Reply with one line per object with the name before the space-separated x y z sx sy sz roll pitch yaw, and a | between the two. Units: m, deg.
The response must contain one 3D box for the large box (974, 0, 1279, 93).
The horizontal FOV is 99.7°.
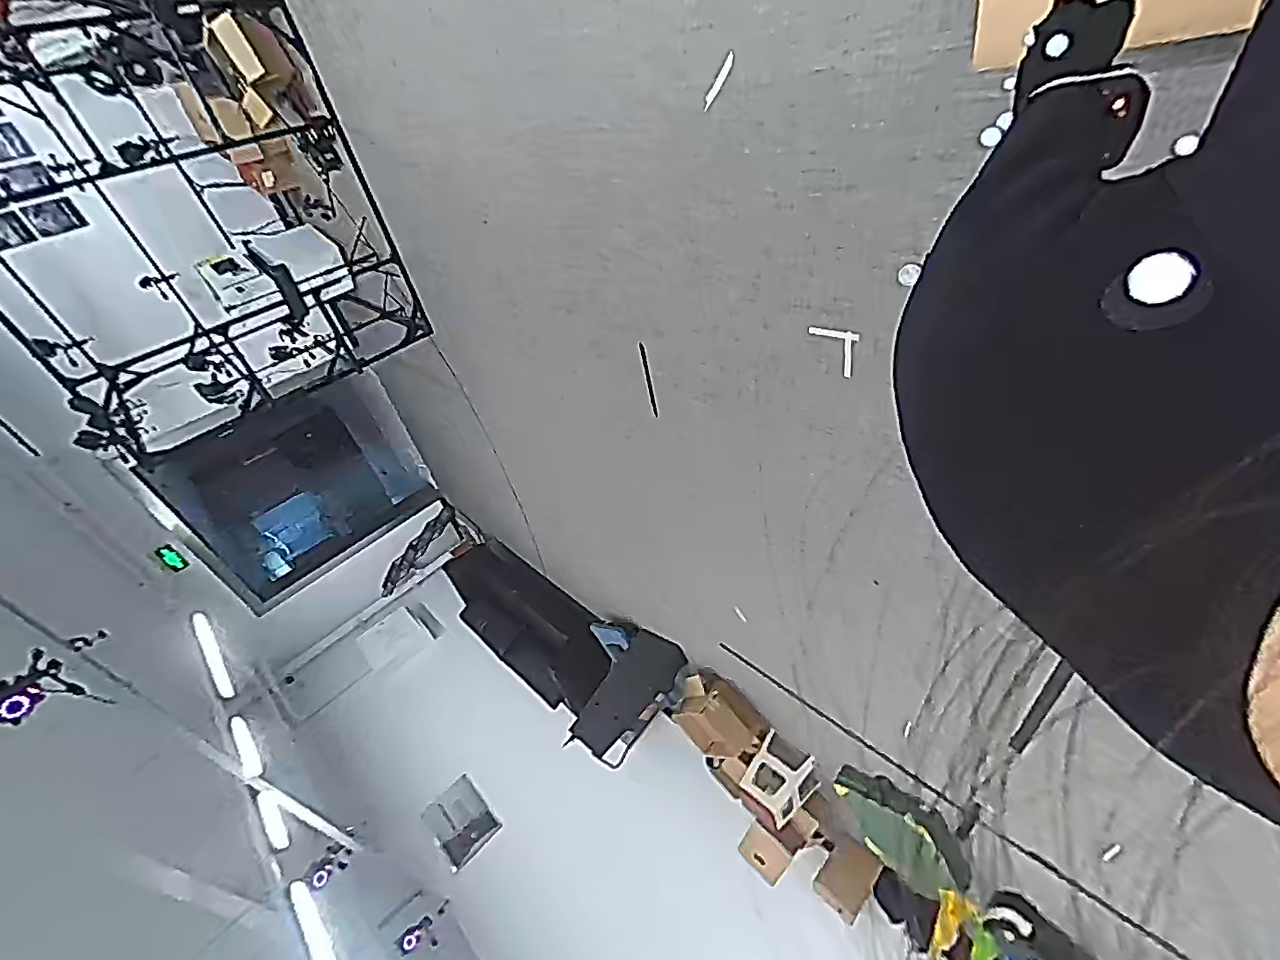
large box | 0.720 -0.793 0.754 0.320 0.408 0.320 24 143 40
